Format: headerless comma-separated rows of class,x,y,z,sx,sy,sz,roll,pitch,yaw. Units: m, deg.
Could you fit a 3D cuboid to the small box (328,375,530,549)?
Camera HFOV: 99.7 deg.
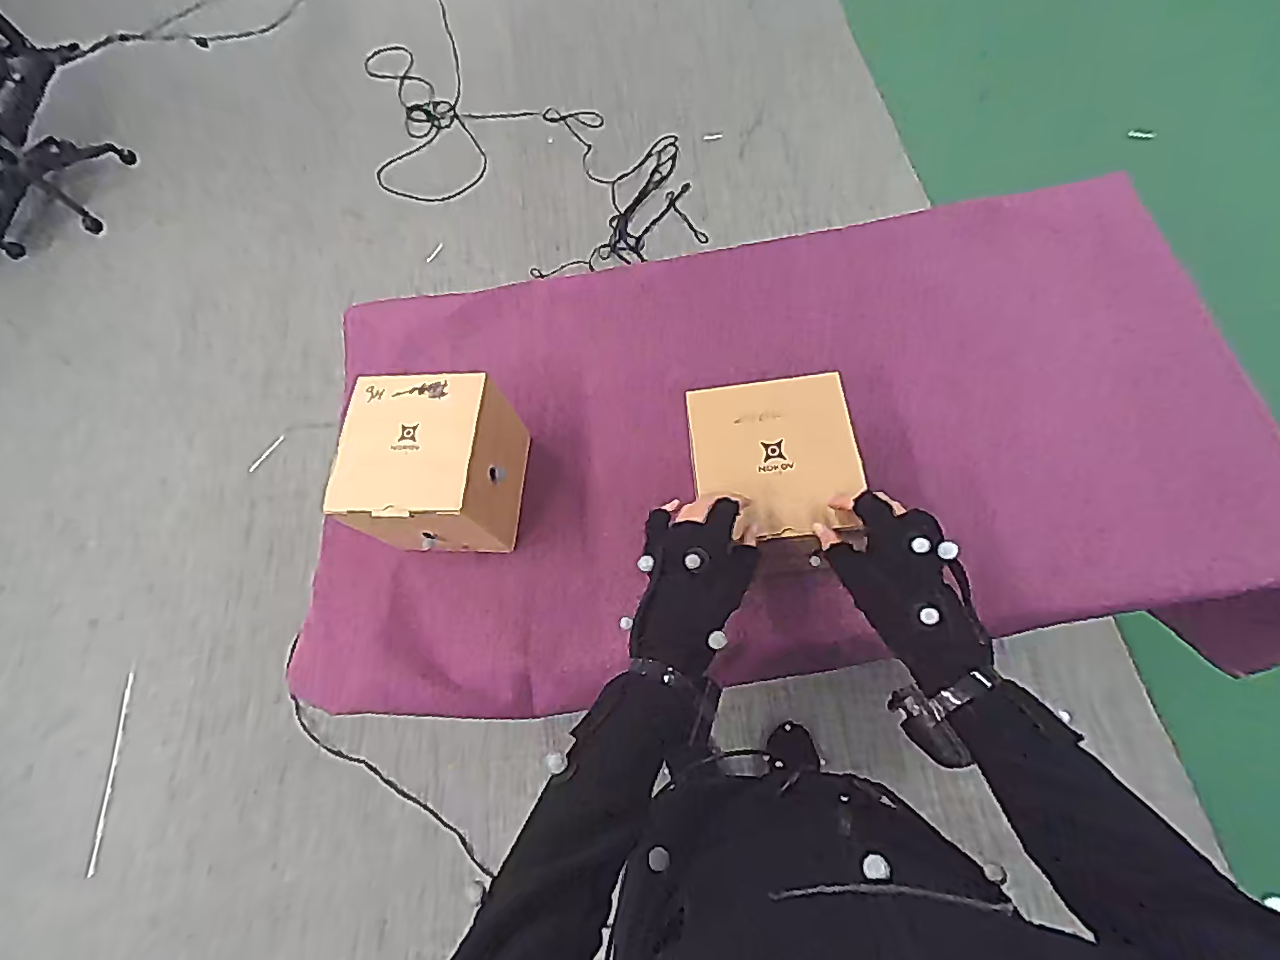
small box,-0.250,-0.014,0.688,0.168,0.176,0.179,0,69,8

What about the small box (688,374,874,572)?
small box,0.149,0.005,0.624,0.168,0.176,0.179,-6,67,5
